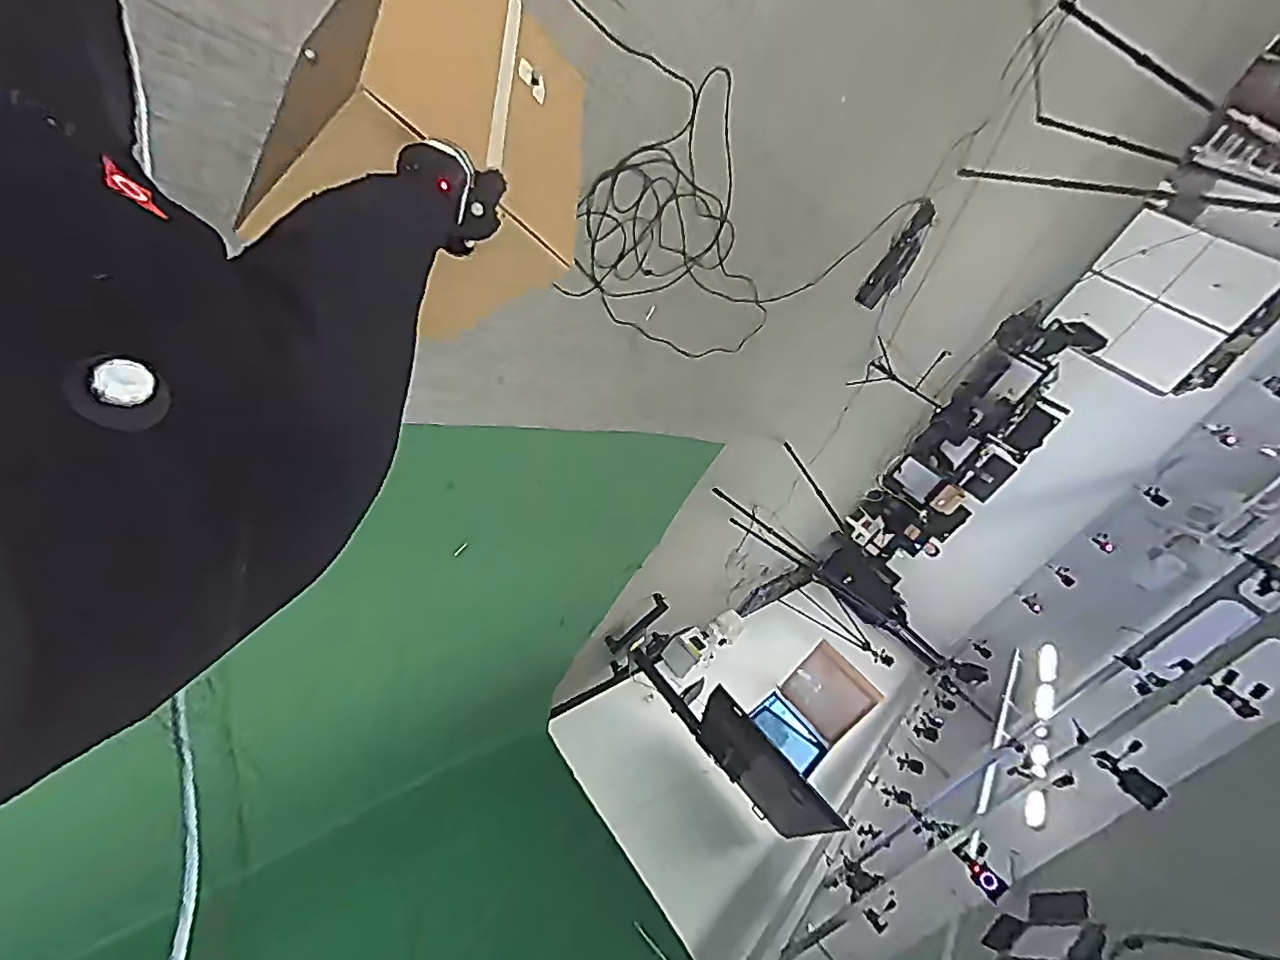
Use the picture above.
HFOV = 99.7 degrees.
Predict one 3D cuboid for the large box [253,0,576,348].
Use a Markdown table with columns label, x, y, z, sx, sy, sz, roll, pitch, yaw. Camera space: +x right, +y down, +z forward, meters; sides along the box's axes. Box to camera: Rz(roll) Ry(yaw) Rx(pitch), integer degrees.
| label | x | y | z | sx | sy | sz | roll | pitch | yaw |
| --- | --- | --- | --- | --- | --- | --- | --- | --- | --- |
| large box | -0.313 | -0.483 | 0.813 | 0.320 | 0.408 | 0.320 | -16 | 153 | 32 |
